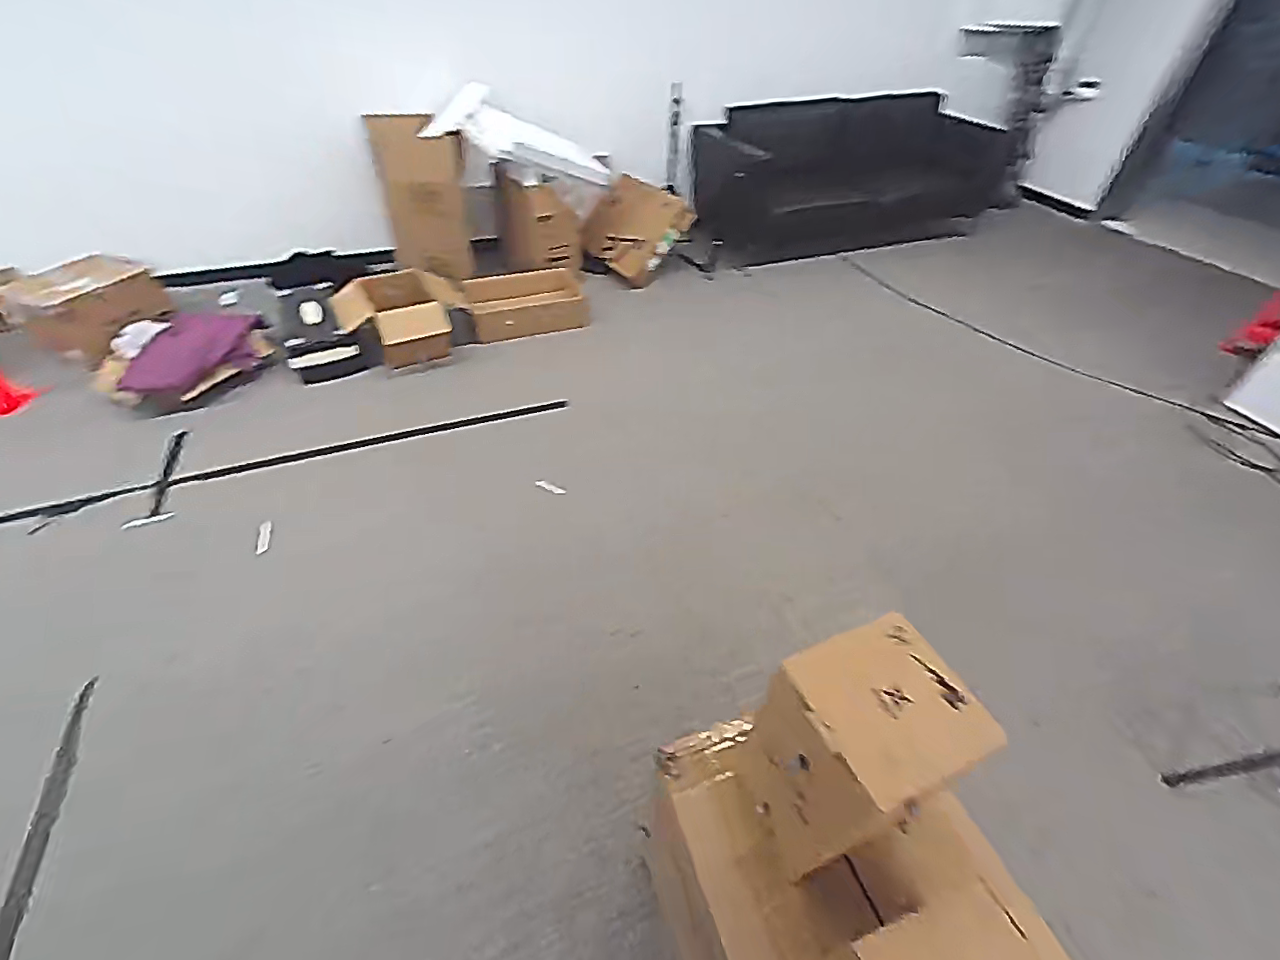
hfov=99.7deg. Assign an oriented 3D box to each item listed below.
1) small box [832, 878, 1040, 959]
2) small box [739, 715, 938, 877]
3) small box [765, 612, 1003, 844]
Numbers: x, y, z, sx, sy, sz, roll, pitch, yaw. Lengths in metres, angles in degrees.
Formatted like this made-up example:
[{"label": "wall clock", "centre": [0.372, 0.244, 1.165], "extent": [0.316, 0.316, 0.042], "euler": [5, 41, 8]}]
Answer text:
[{"label": "small box", "centre": [0.331, 0.573, 0.583], "extent": [0.179, 0.176, 0.168], "euler": [-14, 44, -15]}, {"label": "small box", "centre": [0.258, 0.411, 0.749], "extent": [0.179, 0.176, 0.168], "euler": [-15, 47, -16]}, {"label": "small box", "centre": [0.264, 0.292, 0.637], "extent": [0.179, 0.176, 0.168], "euler": [-16, 47, -17]}]
